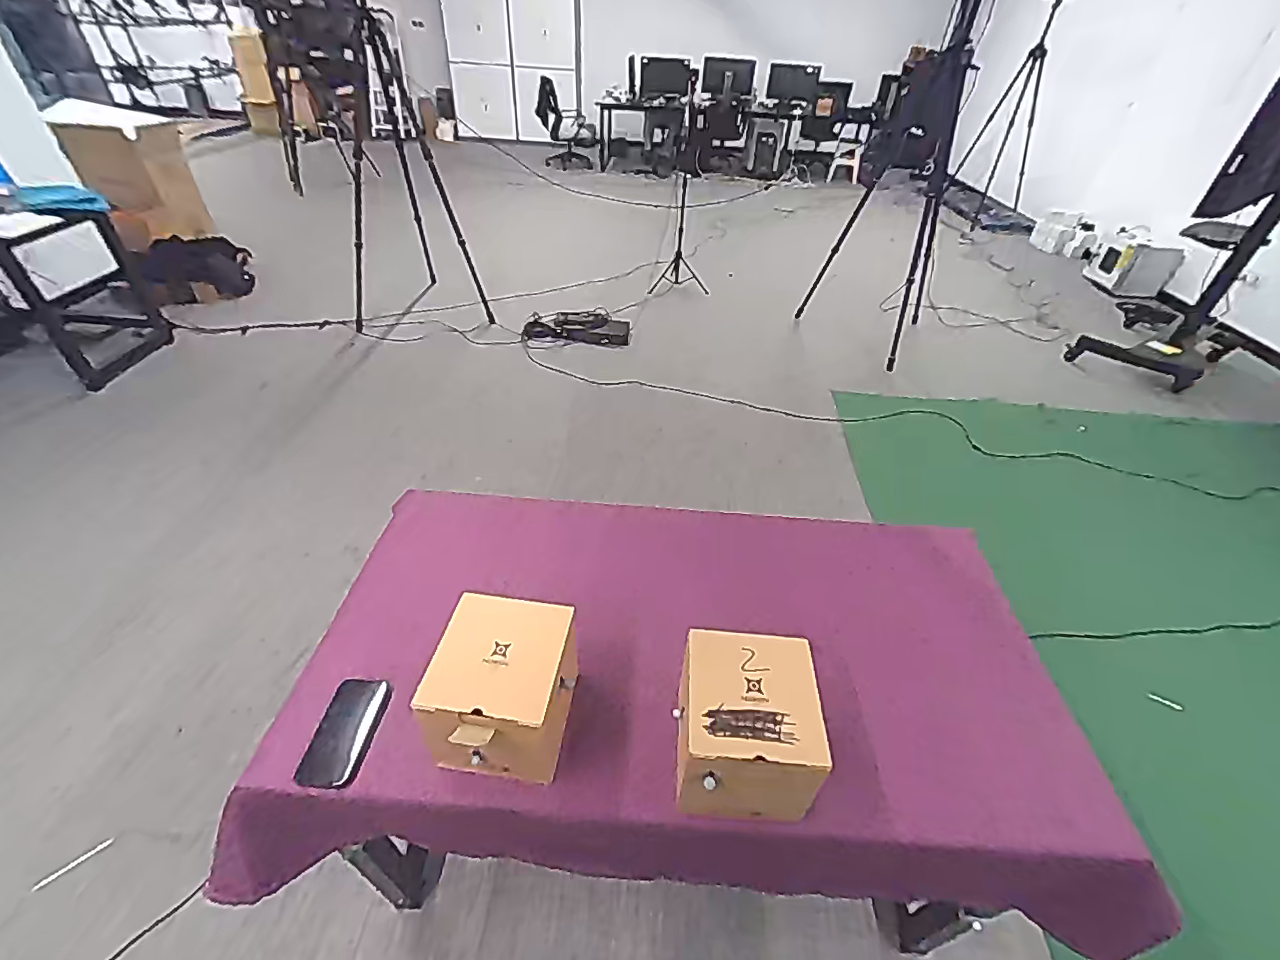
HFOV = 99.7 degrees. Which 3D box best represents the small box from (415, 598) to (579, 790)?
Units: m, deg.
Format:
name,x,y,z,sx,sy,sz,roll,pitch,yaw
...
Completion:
name,x,y,z,sx,sy,sz,roll,pitch,yaw
small box,-0.185,0.297,0.756,0.168,0.176,0.179,8,40,4
